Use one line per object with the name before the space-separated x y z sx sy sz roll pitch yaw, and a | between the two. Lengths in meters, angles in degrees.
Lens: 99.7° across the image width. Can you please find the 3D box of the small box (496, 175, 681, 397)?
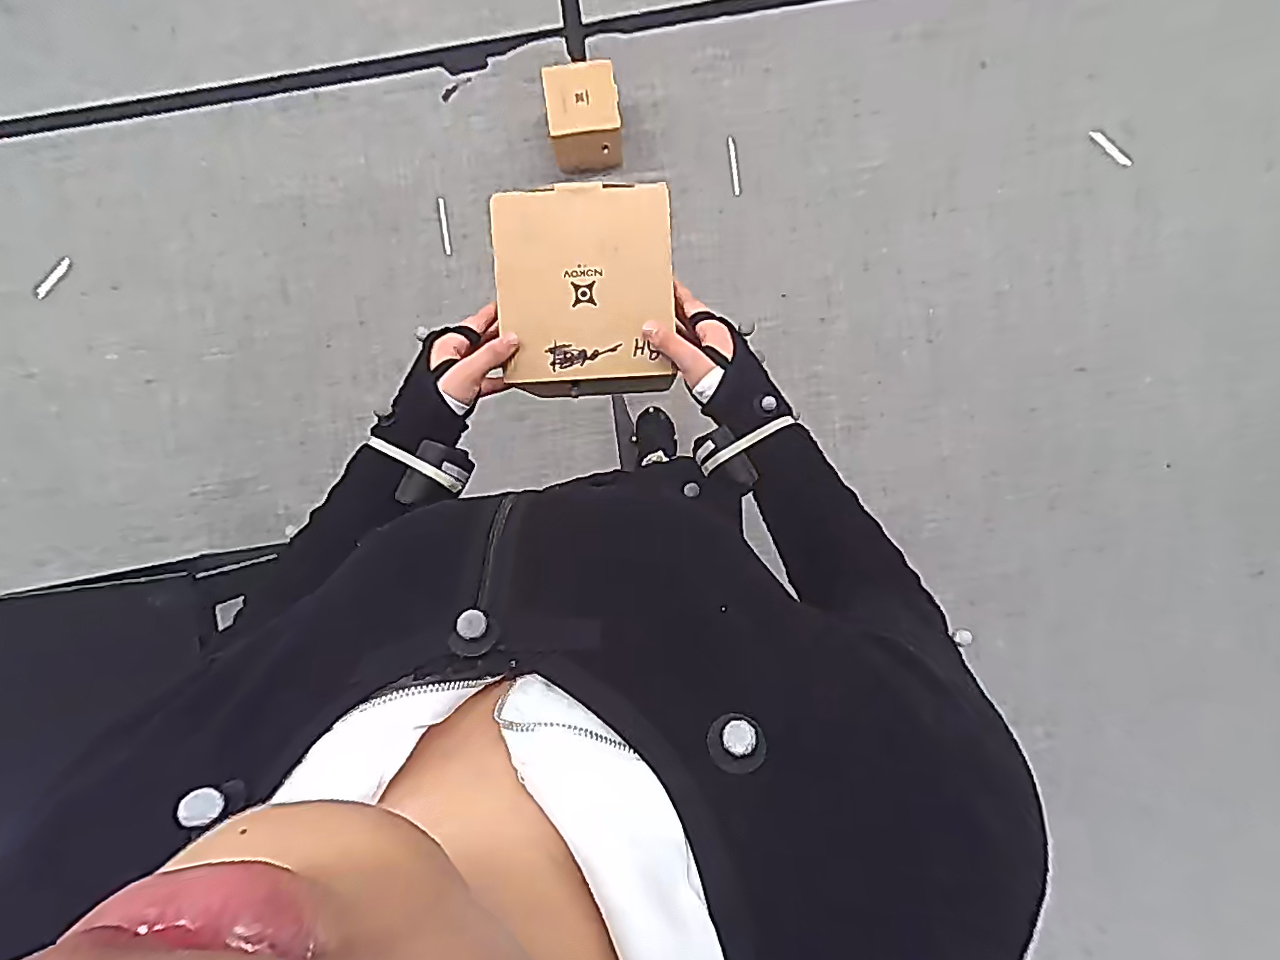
small box | -0.047 -0.191 0.577 0.168 0.176 0.179 -4 92 2

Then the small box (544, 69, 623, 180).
small box | -0.138 -0.905 1.391 0.179 0.176 0.168 -8 90 1
